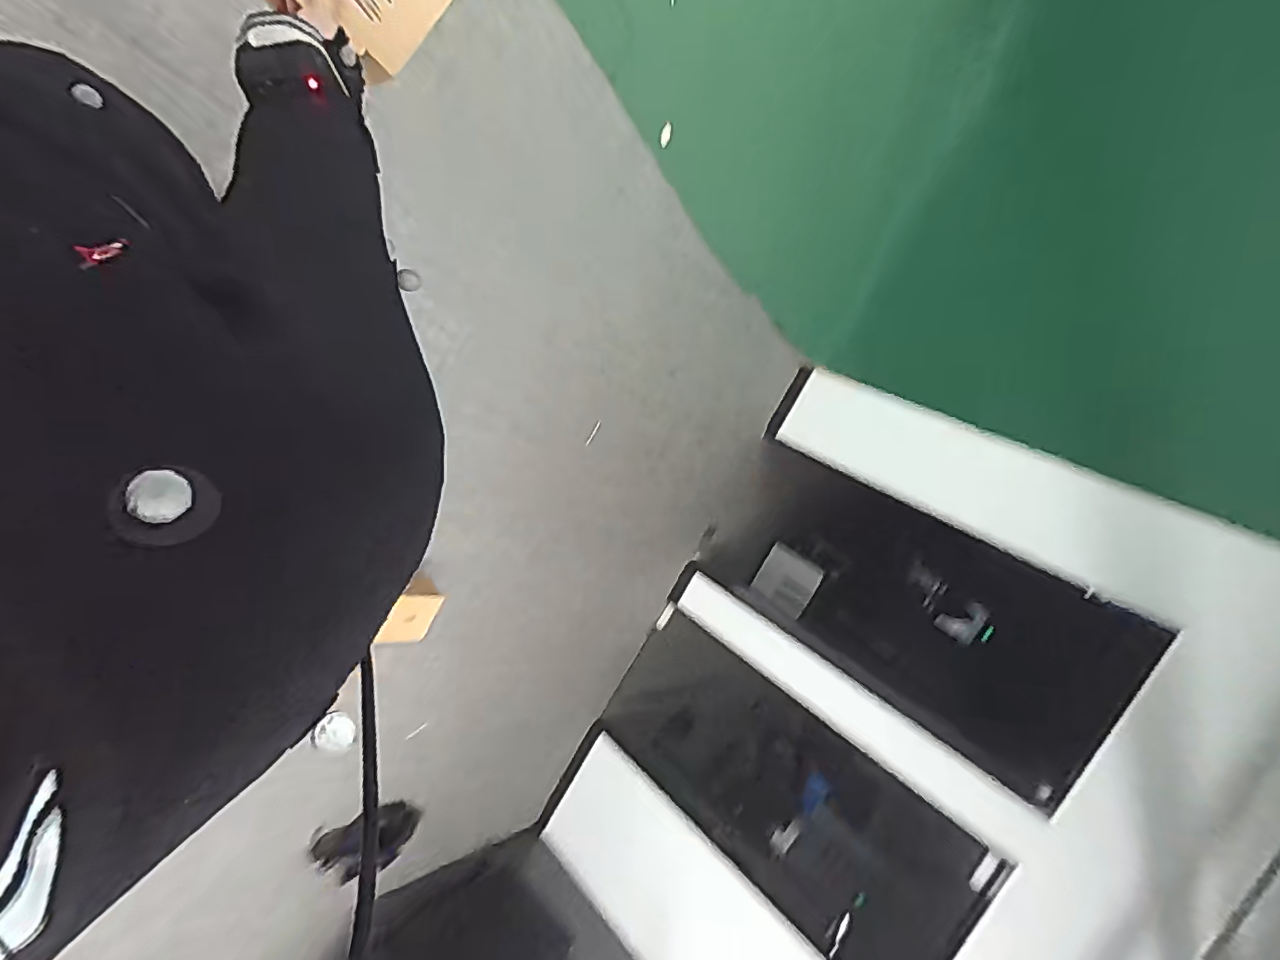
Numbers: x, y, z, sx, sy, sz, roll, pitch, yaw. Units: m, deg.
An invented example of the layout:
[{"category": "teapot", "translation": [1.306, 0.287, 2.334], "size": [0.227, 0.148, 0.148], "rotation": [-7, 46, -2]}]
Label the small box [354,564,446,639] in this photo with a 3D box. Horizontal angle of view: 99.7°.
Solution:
[{"category": "small box", "translation": [-0.763, 0.381, 1.715], "size": [0.179, 0.176, 0.168], "rotation": [19, 101, -57]}]
